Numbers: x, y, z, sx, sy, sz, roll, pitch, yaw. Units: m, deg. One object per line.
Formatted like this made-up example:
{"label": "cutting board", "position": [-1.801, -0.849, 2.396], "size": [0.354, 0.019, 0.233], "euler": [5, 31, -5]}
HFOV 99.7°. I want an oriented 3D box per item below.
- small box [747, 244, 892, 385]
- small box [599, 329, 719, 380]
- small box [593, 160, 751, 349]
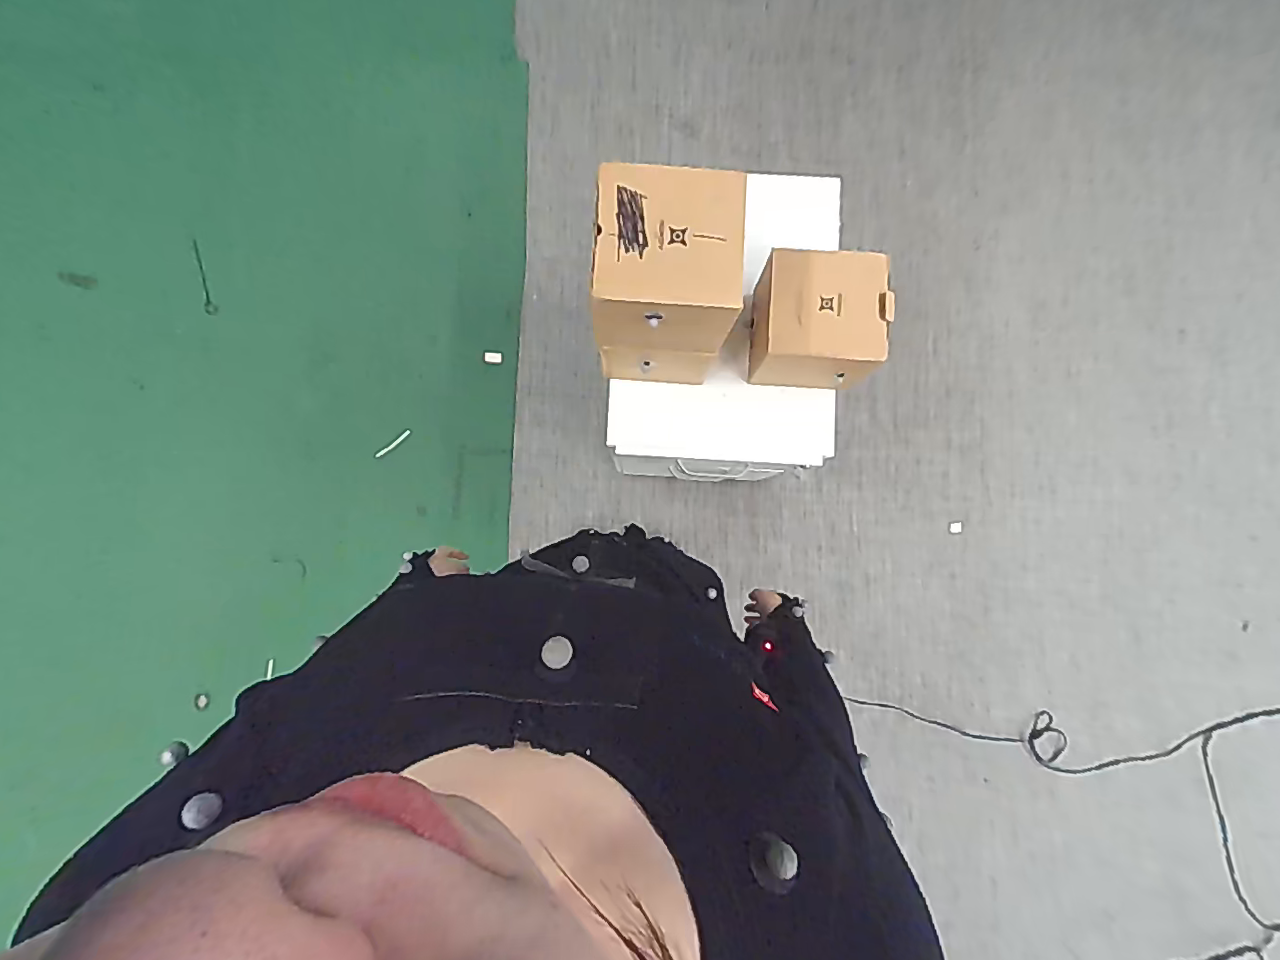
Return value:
{"label": "small box", "position": [0.278, -0.253, 0.866], "size": [0.179, 0.176, 0.168], "euler": [4, 86, 2]}
{"label": "small box", "position": [0.032, -0.262, 0.862], "size": [0.179, 0.176, 0.168], "euler": [4, 87, -1]}
{"label": "small box", "position": [0.035, -0.277, 0.698], "size": [0.179, 0.176, 0.168], "euler": [3, 86, -3]}
